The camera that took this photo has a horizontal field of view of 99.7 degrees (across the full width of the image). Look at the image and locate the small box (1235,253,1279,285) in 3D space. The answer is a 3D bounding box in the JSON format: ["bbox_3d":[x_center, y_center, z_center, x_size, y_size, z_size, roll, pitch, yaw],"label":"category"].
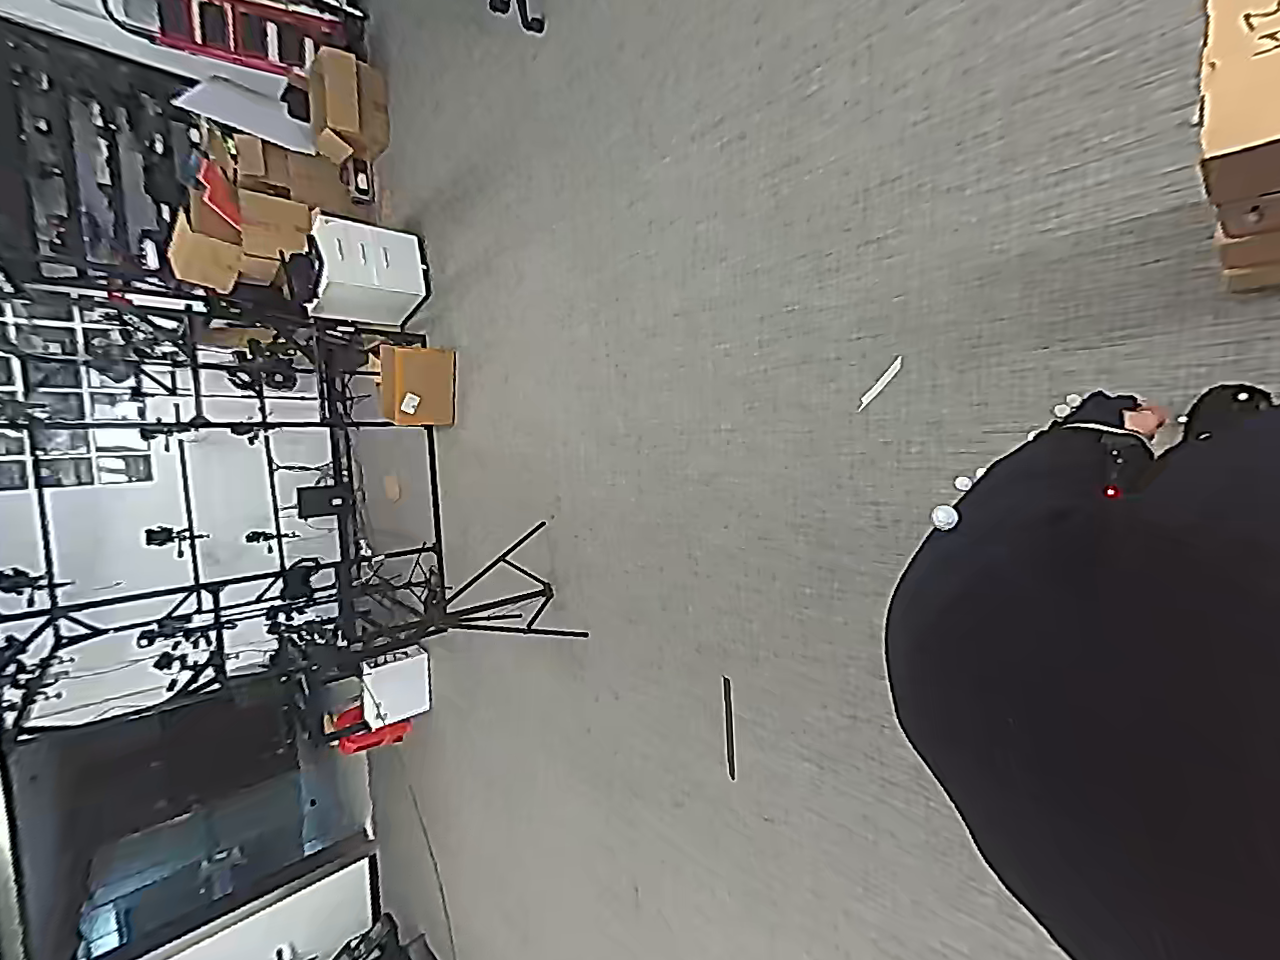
[{"bbox_3d":[1.024,-0.409,0.813,0.168,0.176,0.179,4,98,50],"label":"small box"}]

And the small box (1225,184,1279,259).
[{"bbox_3d":[0.902,-0.405,0.706,0.179,0.176,0.168,4,98,50],"label":"small box"}]

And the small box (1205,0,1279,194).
[{"bbox_3d":[0.652,-0.390,0.491,0.179,0.176,0.168,5,97,50],"label":"small box"}]
